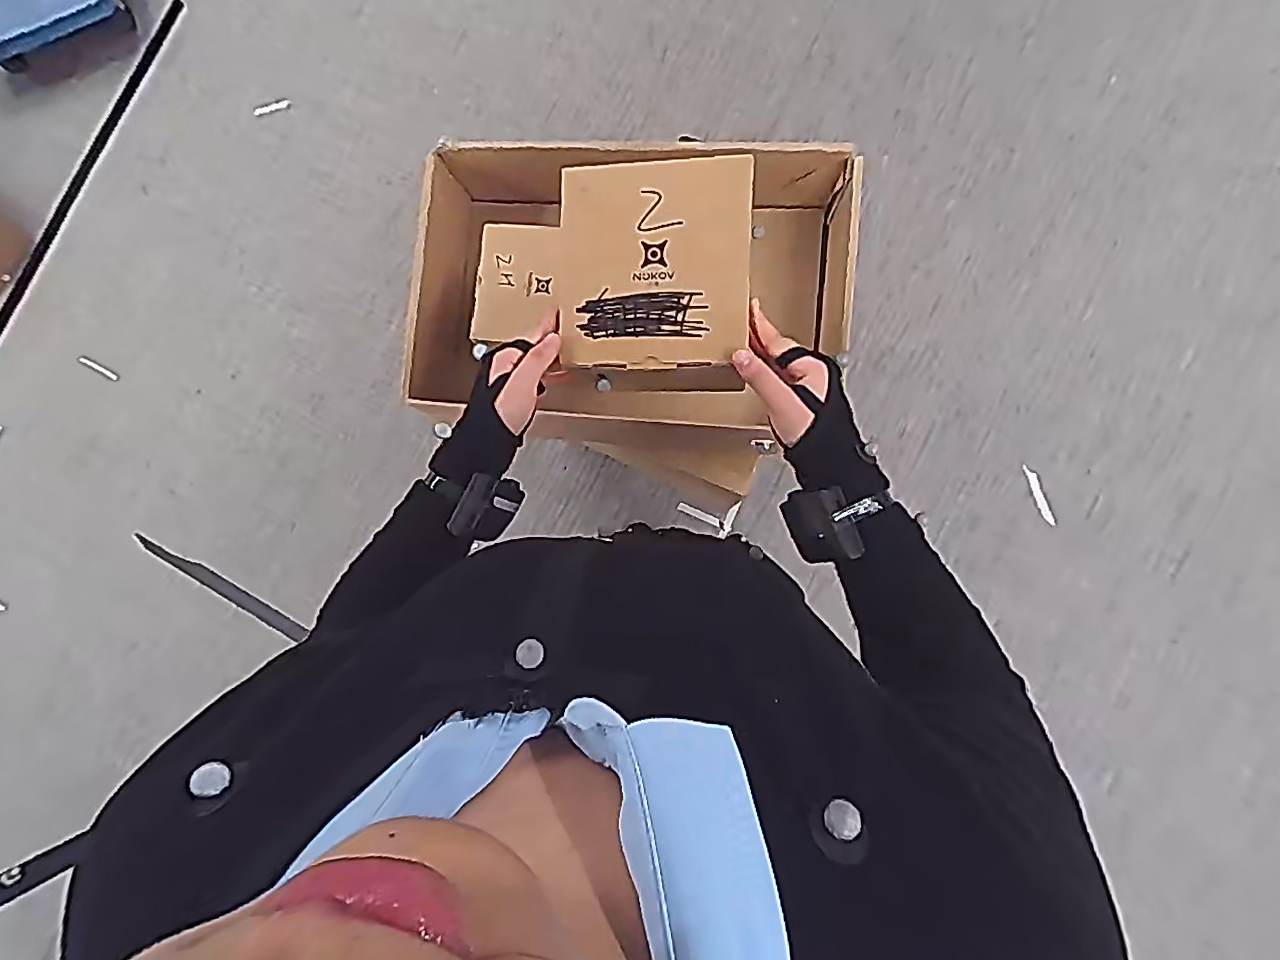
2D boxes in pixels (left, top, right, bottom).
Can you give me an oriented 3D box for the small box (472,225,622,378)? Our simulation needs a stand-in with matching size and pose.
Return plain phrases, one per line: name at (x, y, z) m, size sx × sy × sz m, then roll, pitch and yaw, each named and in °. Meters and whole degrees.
small box at (-0.128, -0.257, 0.813) m, size 0.179 × 0.176 × 0.168 m, roll 6°, pitch 86°, yaw 7°
